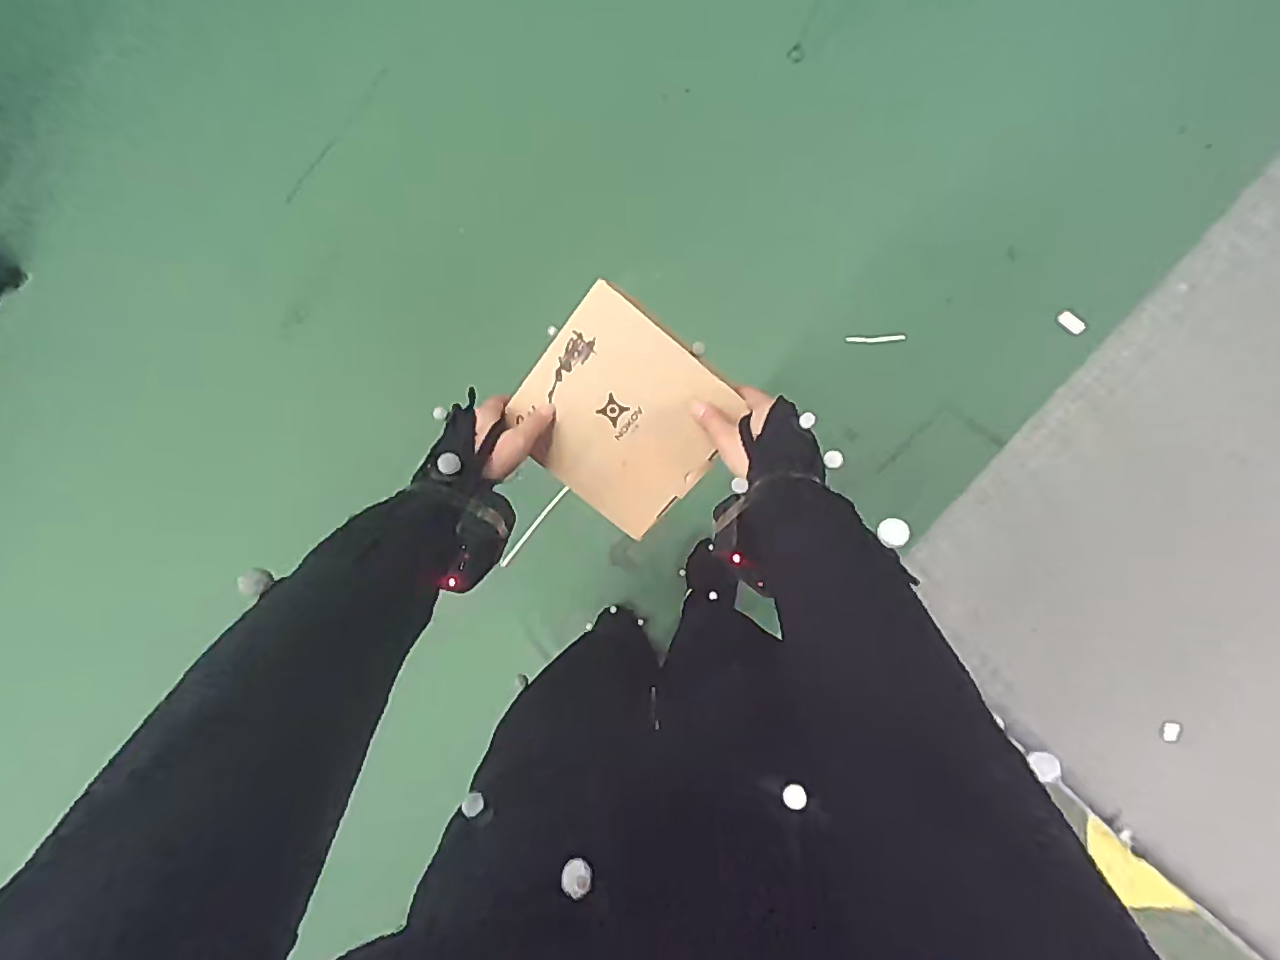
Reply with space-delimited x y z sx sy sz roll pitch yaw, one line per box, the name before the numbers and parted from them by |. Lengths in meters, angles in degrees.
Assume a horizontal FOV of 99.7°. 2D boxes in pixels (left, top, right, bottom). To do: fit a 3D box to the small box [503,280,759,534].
small box | -0.002 -0.081 0.560 0.179 0.176 0.168 40 105 -5
